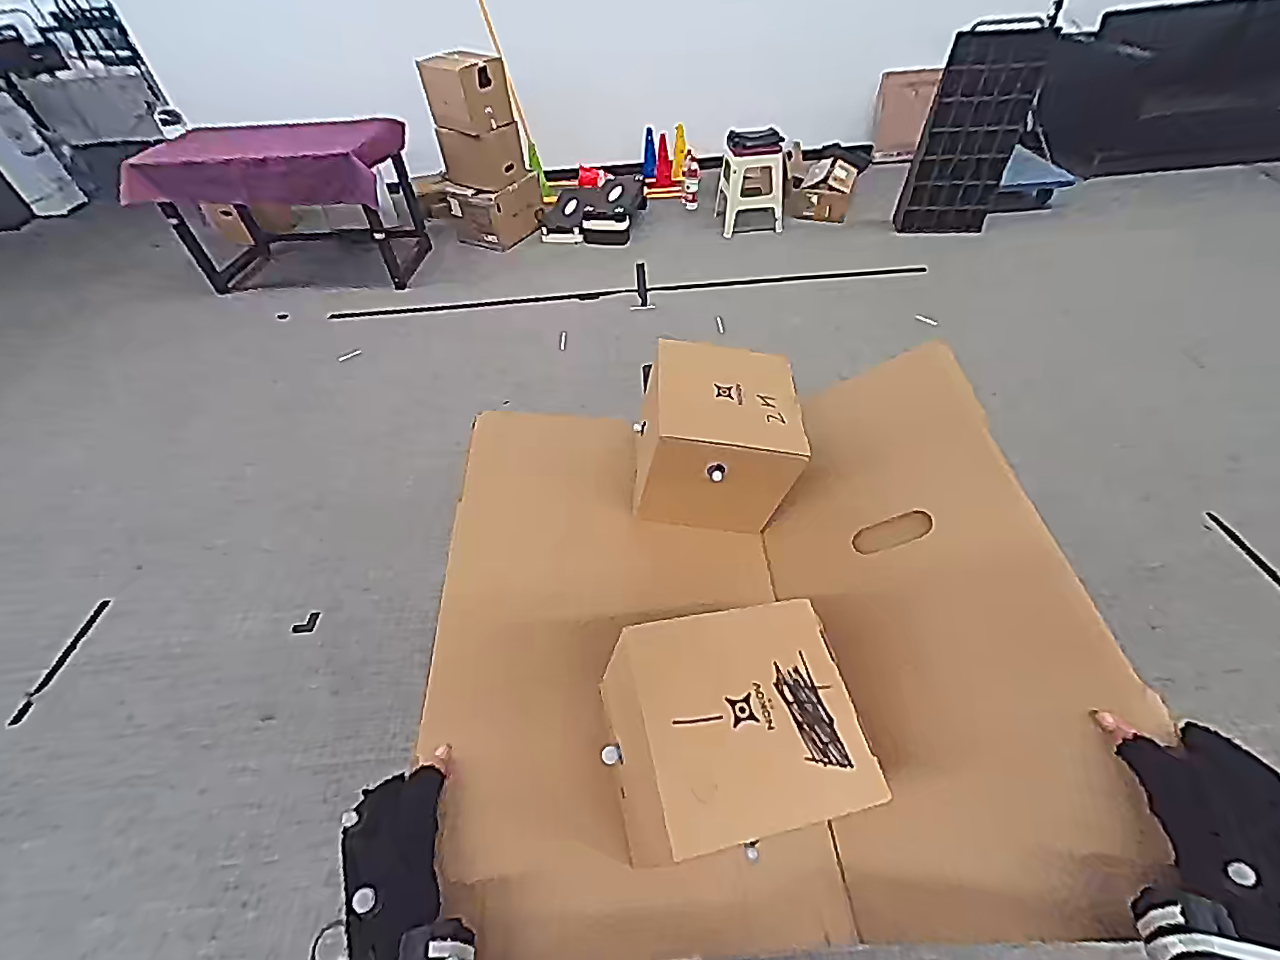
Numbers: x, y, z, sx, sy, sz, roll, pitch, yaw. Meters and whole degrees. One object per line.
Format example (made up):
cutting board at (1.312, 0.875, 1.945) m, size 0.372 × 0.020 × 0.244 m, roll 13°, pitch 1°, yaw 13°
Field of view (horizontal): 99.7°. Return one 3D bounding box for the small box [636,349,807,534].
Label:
small box at (0.093, -0.044, 0.709) m, size 0.179 × 0.176 × 0.168 m, roll 8°, pitch 53°, yaw -7°

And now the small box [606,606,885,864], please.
small box at (0.075, 0.233, 0.496) m, size 0.179 × 0.176 × 0.168 m, roll -5°, pitch 55°, yaw -15°
